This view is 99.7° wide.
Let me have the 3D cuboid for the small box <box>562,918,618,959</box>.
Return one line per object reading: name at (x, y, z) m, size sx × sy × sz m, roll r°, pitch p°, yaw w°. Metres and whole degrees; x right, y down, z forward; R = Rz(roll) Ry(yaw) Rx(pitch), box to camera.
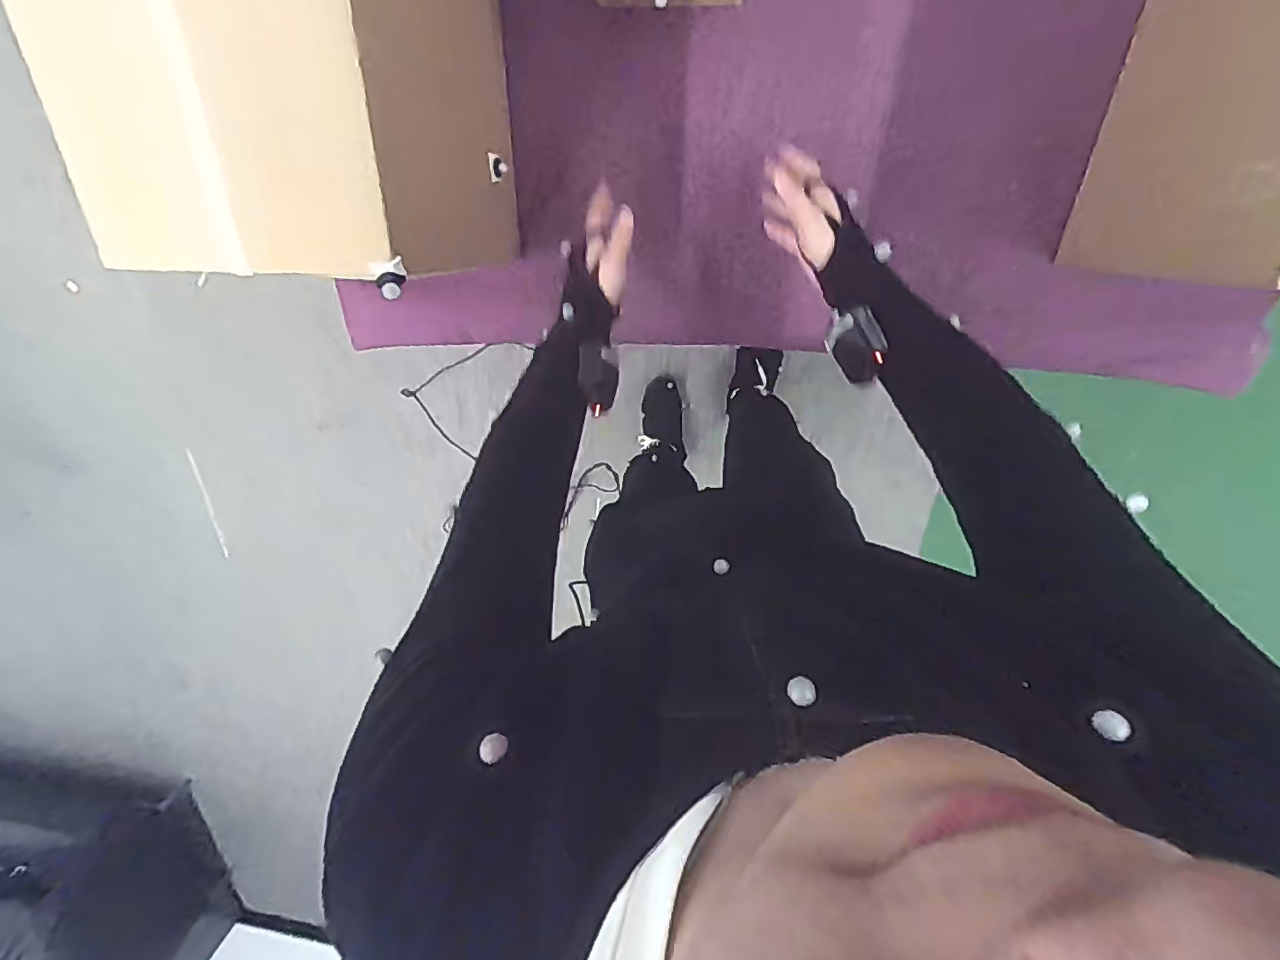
small box at (-0.182, 1.736, 1.964) m, size 0.179 × 0.176 × 0.168 m, roll 0°, pitch 116°, yaw 11°
